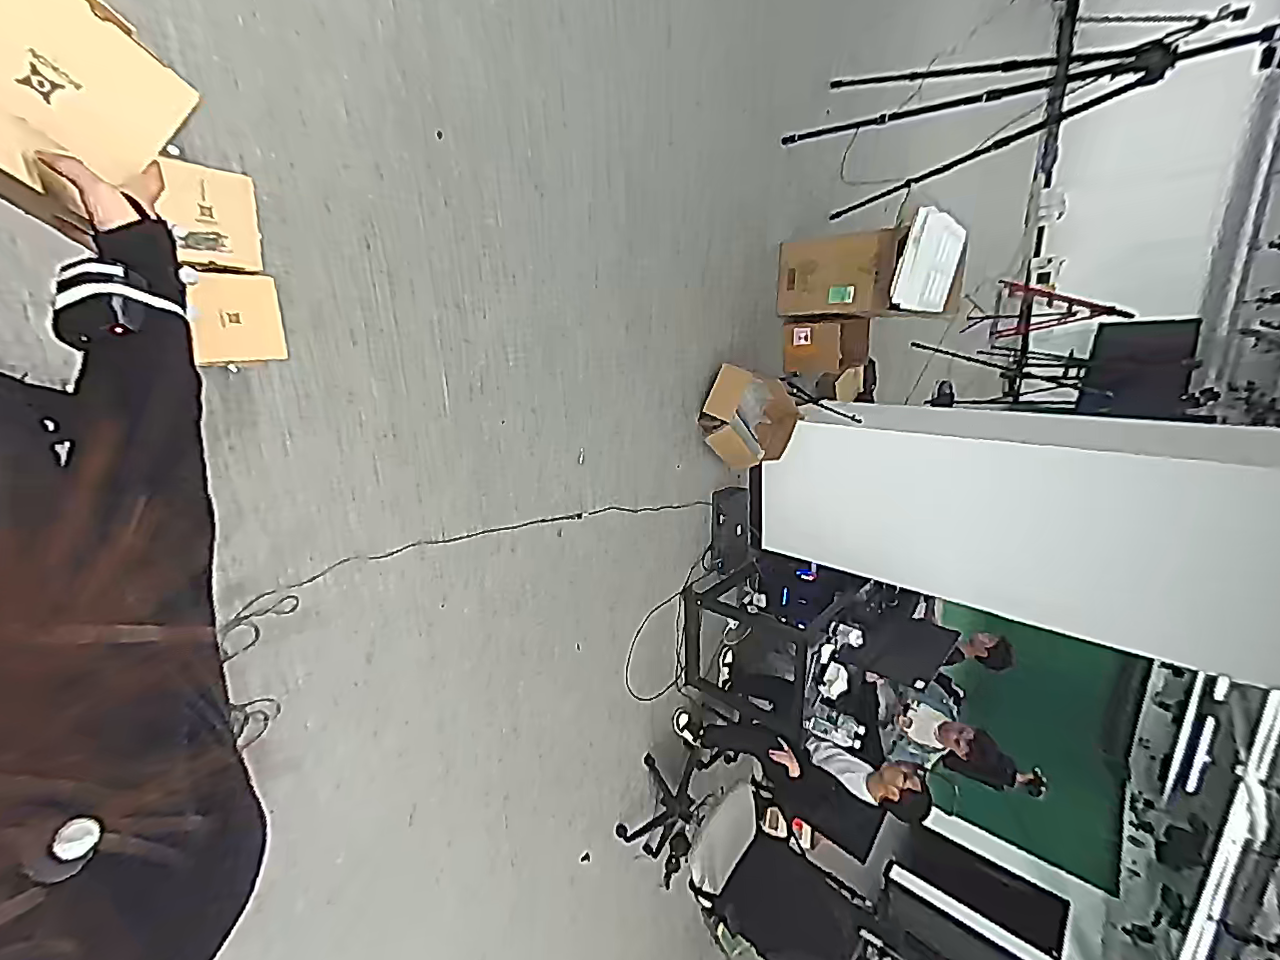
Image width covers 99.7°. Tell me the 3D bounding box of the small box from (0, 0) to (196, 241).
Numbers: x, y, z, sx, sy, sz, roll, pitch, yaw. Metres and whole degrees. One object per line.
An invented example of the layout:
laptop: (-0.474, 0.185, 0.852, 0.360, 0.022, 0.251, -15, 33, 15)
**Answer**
small box: (-0.589, -0.360, 0.521, 0.168, 0.176, 0.179, 39, 70, -50)
